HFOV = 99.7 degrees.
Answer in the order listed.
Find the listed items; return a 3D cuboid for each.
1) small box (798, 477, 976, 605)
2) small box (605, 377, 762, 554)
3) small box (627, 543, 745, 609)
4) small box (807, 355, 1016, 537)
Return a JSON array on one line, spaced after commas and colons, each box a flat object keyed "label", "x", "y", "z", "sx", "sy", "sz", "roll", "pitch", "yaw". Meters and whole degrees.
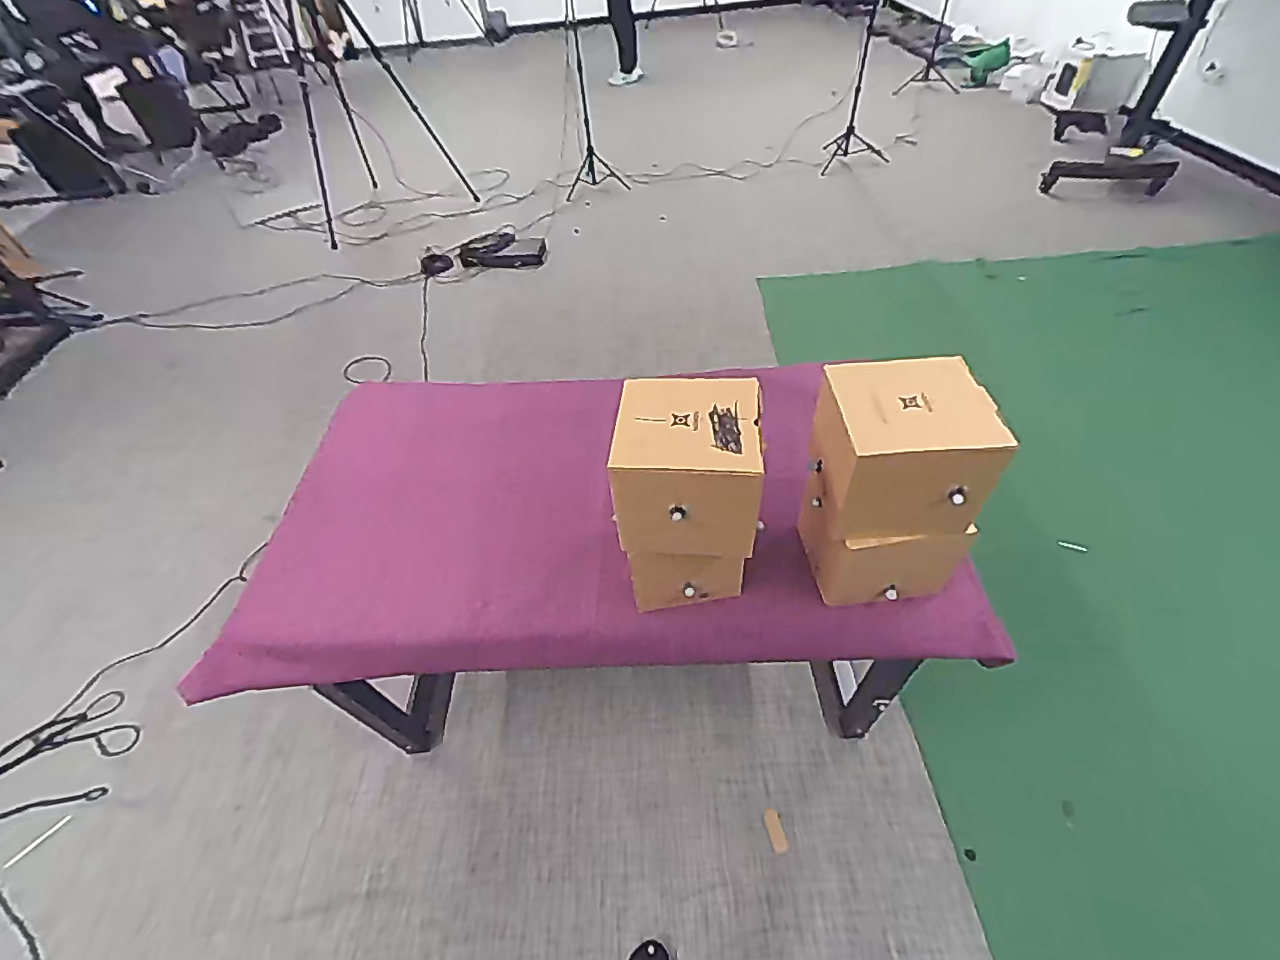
[{"label": "small box", "x": 0.355, "y": 0.072, "z": 0.819, "sx": 0.179, "sy": 0.176, "sz": 0.168, "roll": -7, "pitch": 48, "yaw": 0}, {"label": "small box", "x": 0.062, "y": -0.016, "z": 0.708, "sx": 0.179, "sy": 0.176, "sz": 0.168, "roll": 1, "pitch": 48, "yaw": 9}, {"label": "small box", "x": 0.059, "y": 0.077, "z": 0.847, "sx": 0.168, "sy": 0.176, "sz": 0.179, "roll": -9, "pitch": 48, "yaw": -1}, {"label": "small box", "x": 0.330, "y": -0.040, "z": 0.701, "sx": 0.179, "sy": 0.176, "sz": 0.168, "roll": -3, "pitch": 49, "yaw": 4}]
